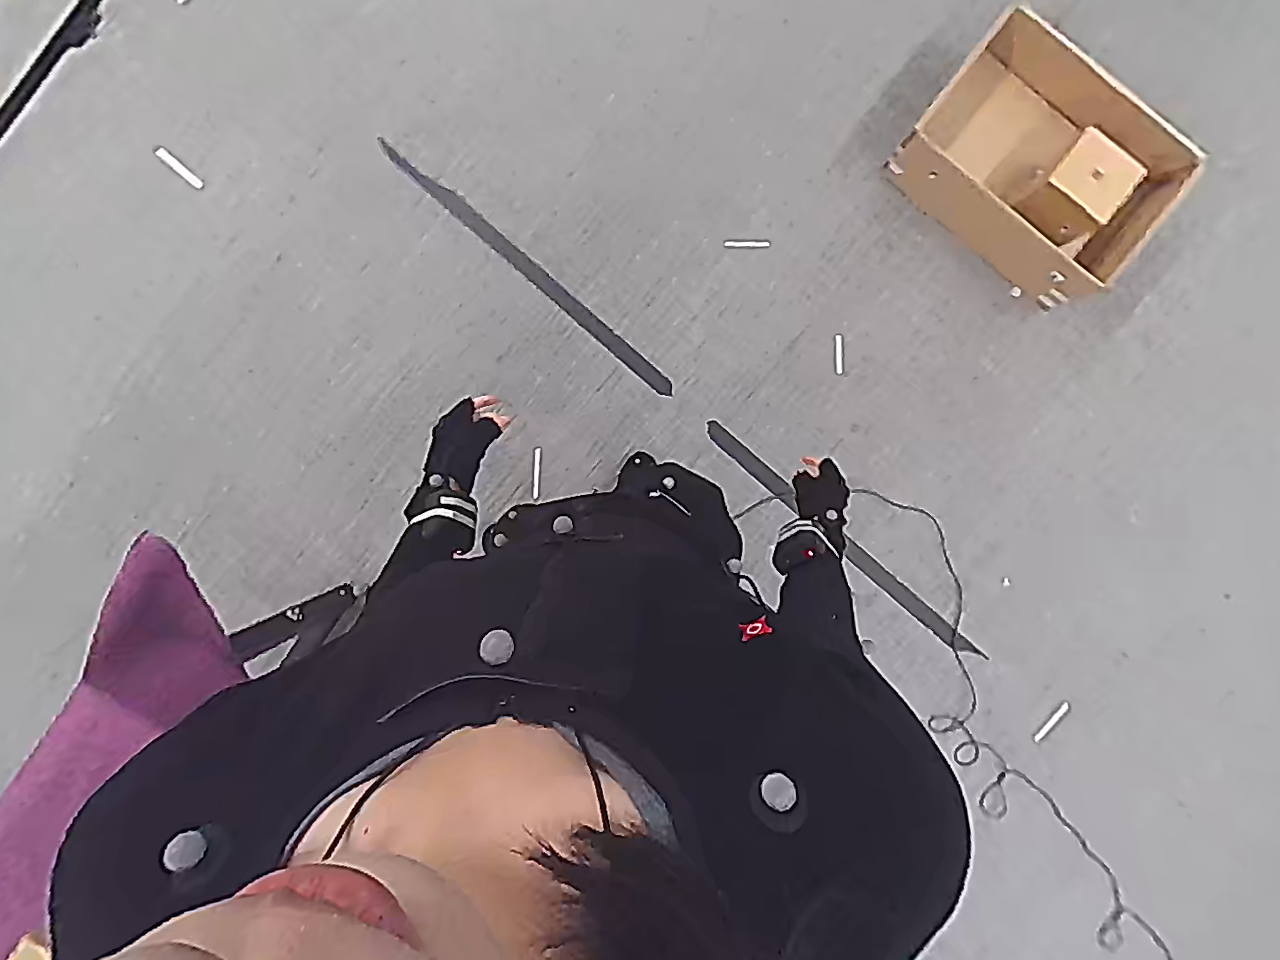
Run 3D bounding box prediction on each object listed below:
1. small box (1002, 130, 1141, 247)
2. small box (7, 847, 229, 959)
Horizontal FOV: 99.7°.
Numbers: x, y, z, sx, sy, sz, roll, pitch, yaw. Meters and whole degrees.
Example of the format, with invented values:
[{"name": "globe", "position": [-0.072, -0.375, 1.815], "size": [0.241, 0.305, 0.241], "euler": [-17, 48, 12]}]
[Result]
[{"name": "small box", "position": [1.082, -0.724, 1.370], "size": [0.179, 0.176, 0.168], "euler": [38, 91, 0]}, {"name": "small box", "position": [-0.706, 0.649, 0.715], "size": [0.168, 0.176, 0.179], "euler": [35, 91, -2]}]
